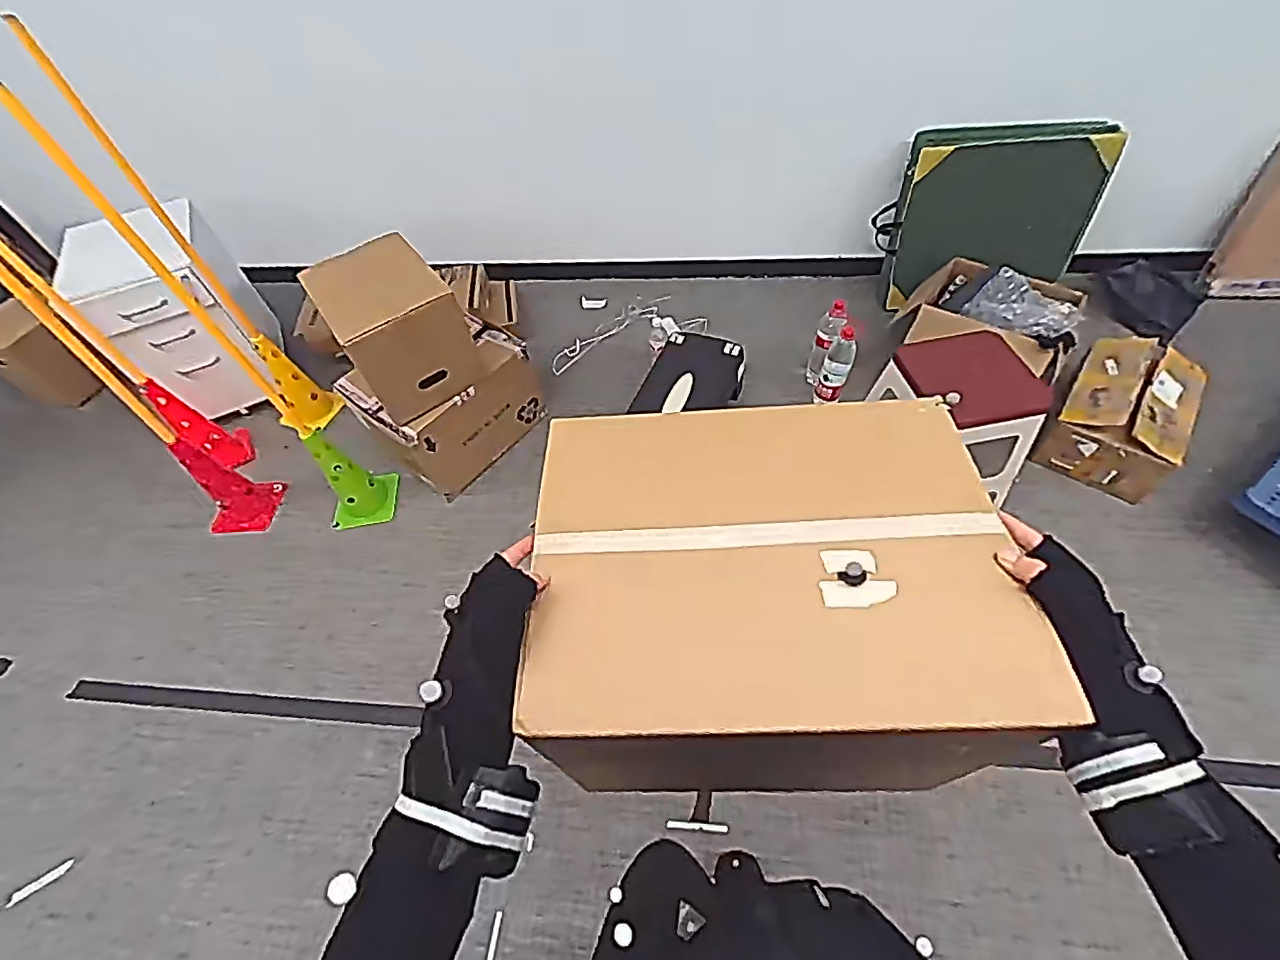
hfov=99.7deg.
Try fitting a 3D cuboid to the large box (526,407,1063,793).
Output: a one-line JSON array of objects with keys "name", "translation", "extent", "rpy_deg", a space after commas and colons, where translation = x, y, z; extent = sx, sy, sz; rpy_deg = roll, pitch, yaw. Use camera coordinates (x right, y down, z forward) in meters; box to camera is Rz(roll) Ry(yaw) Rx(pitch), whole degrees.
[{"name": "large box", "translation": [0.118, 0.146, 0.605], "extent": [0.408, 0.320, 0.320], "rpy_deg": [-3, 53, 4]}]
